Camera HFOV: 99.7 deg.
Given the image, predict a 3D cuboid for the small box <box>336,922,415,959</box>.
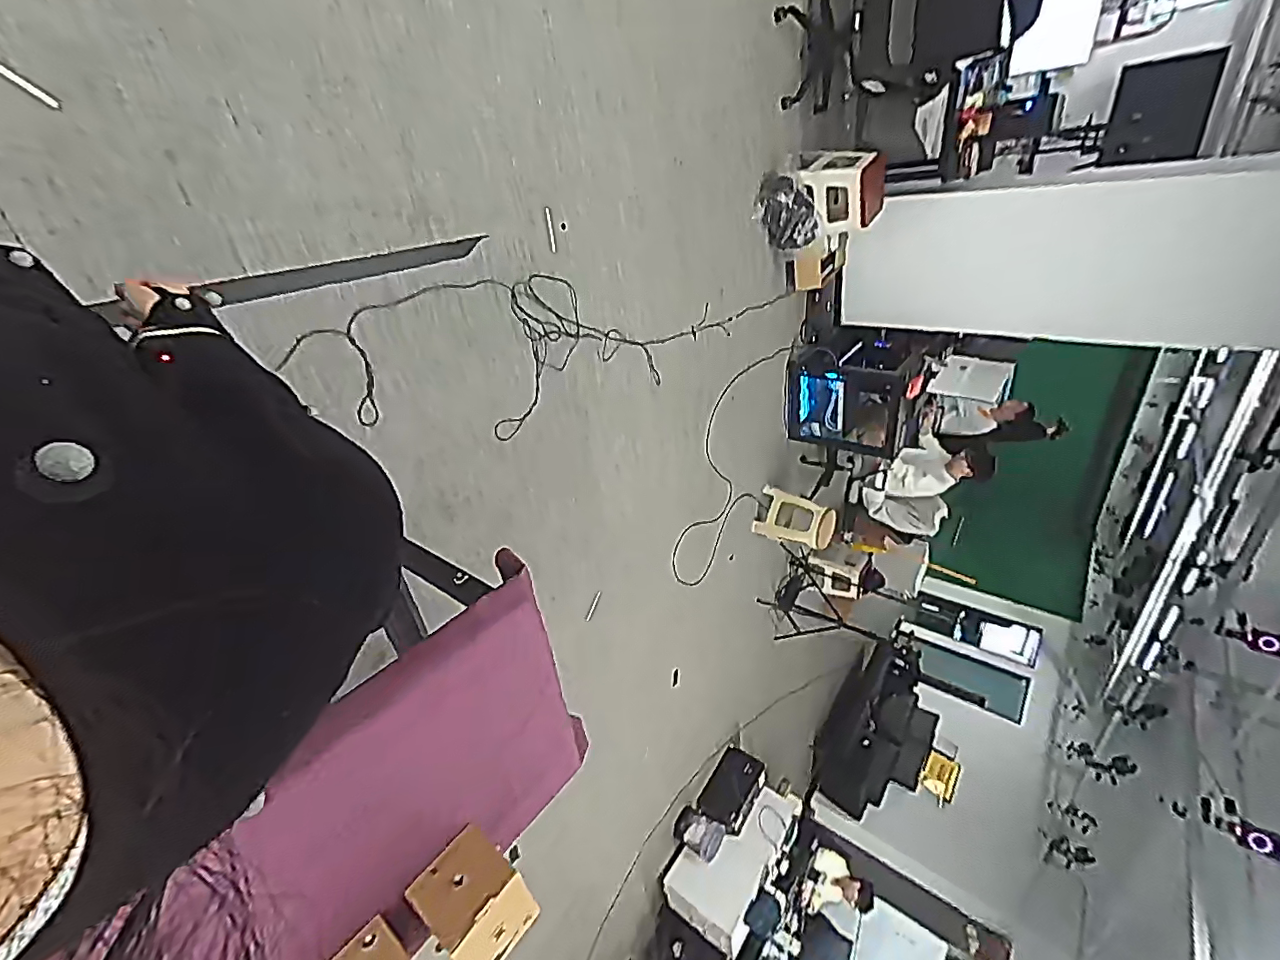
[{"bbox_3d":[-0.475,0.947,0.963,0.168,0.176,0.179,-32,127,-42],"label":"small box"}]
